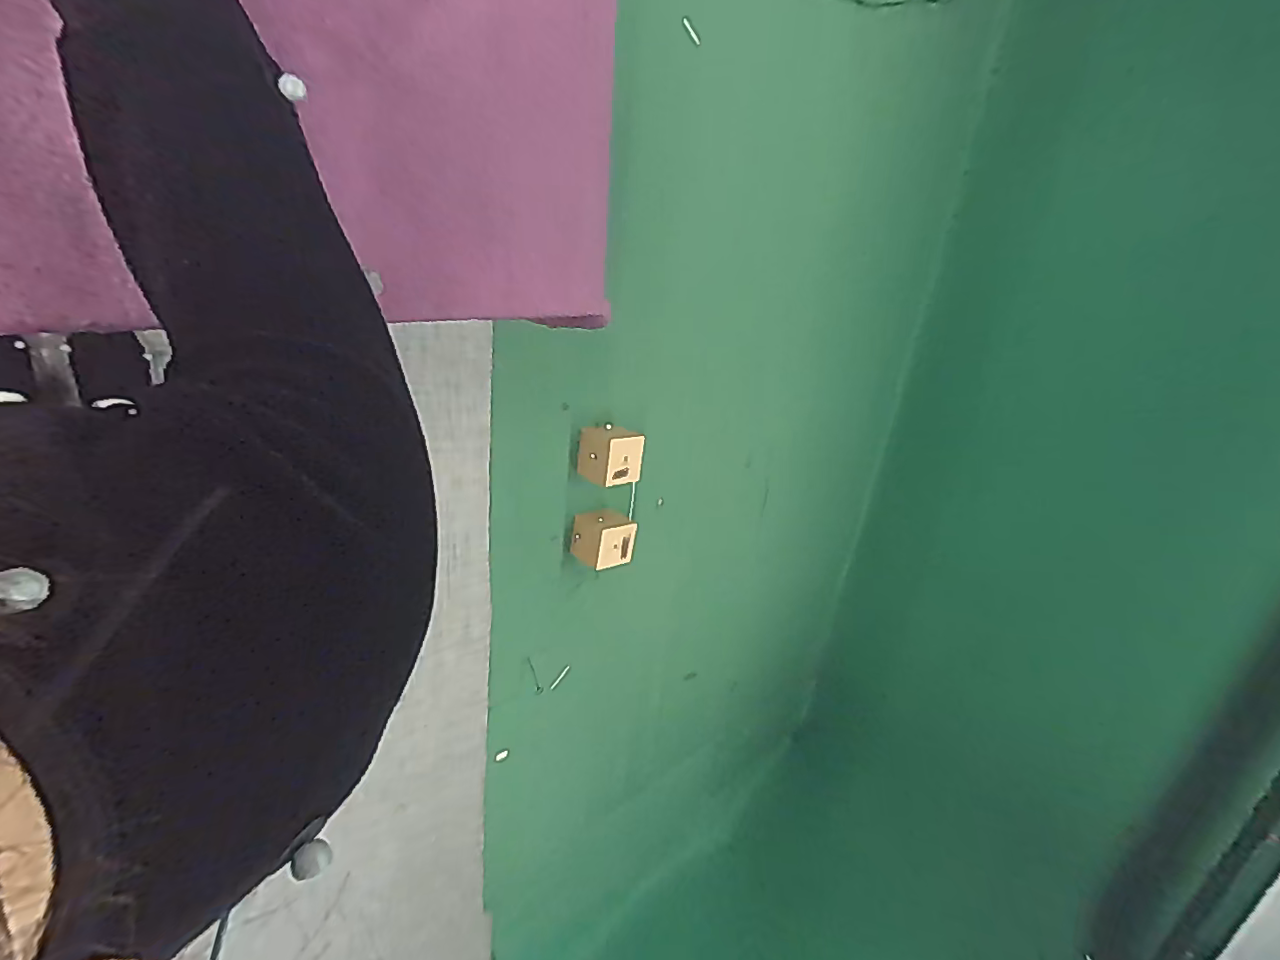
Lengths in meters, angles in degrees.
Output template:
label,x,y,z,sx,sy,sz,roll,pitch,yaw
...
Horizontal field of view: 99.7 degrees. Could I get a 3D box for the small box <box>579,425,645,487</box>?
label,x,y,z,sx,sy,sz,roll,pitch,yaw
small box,-0.107,-0.092,1.960,0.168,0.176,0.179,-10,114,-43
